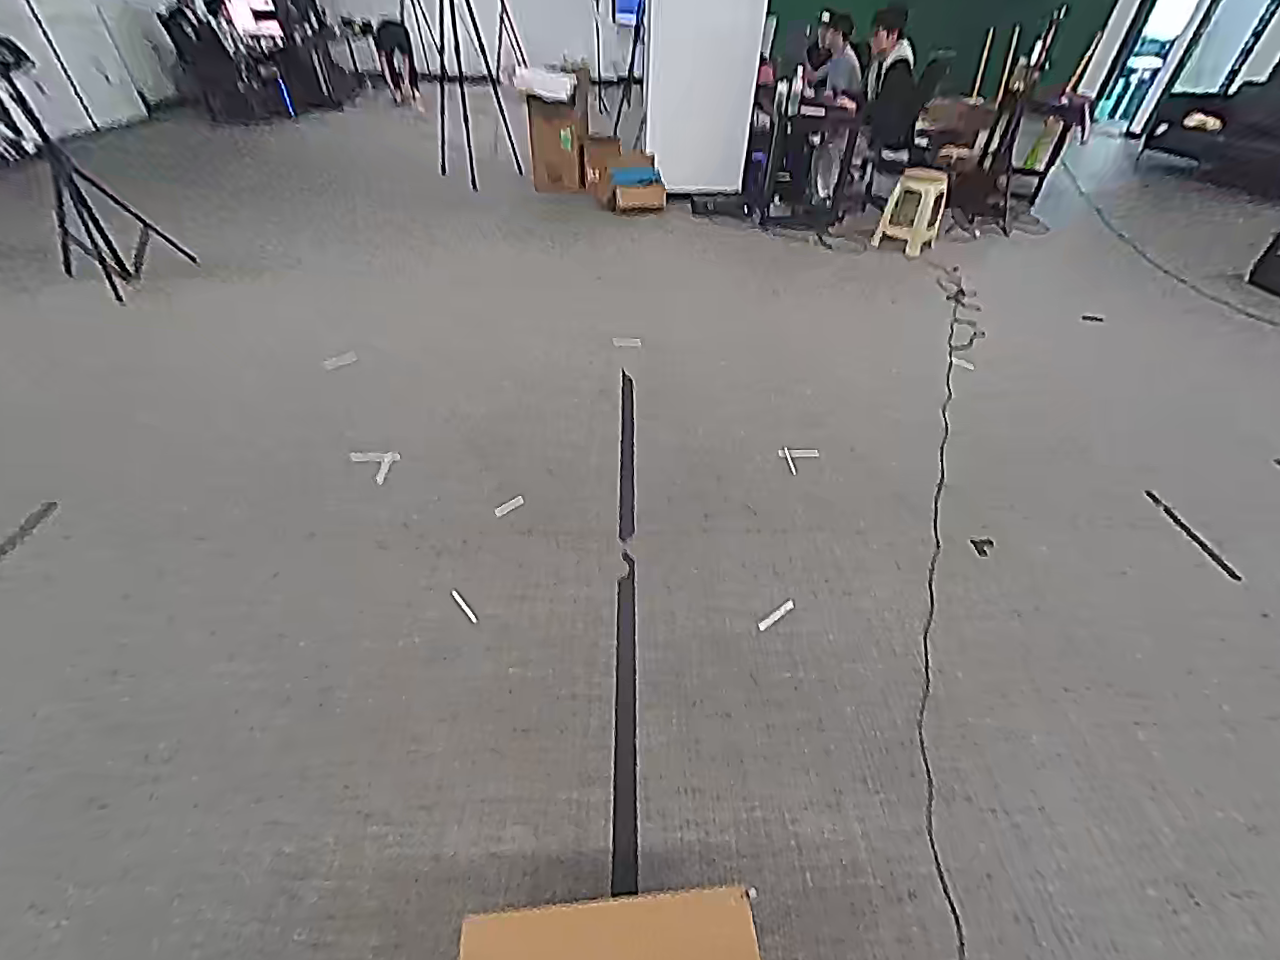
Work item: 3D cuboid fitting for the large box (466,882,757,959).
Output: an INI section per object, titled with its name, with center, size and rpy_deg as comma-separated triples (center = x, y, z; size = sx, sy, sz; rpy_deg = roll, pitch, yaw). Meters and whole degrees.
[large box]
center = -0.034, 0.825, 0.772
size = 0.408, 0.320, 0.320
rpy_deg = -2, 41, -5
